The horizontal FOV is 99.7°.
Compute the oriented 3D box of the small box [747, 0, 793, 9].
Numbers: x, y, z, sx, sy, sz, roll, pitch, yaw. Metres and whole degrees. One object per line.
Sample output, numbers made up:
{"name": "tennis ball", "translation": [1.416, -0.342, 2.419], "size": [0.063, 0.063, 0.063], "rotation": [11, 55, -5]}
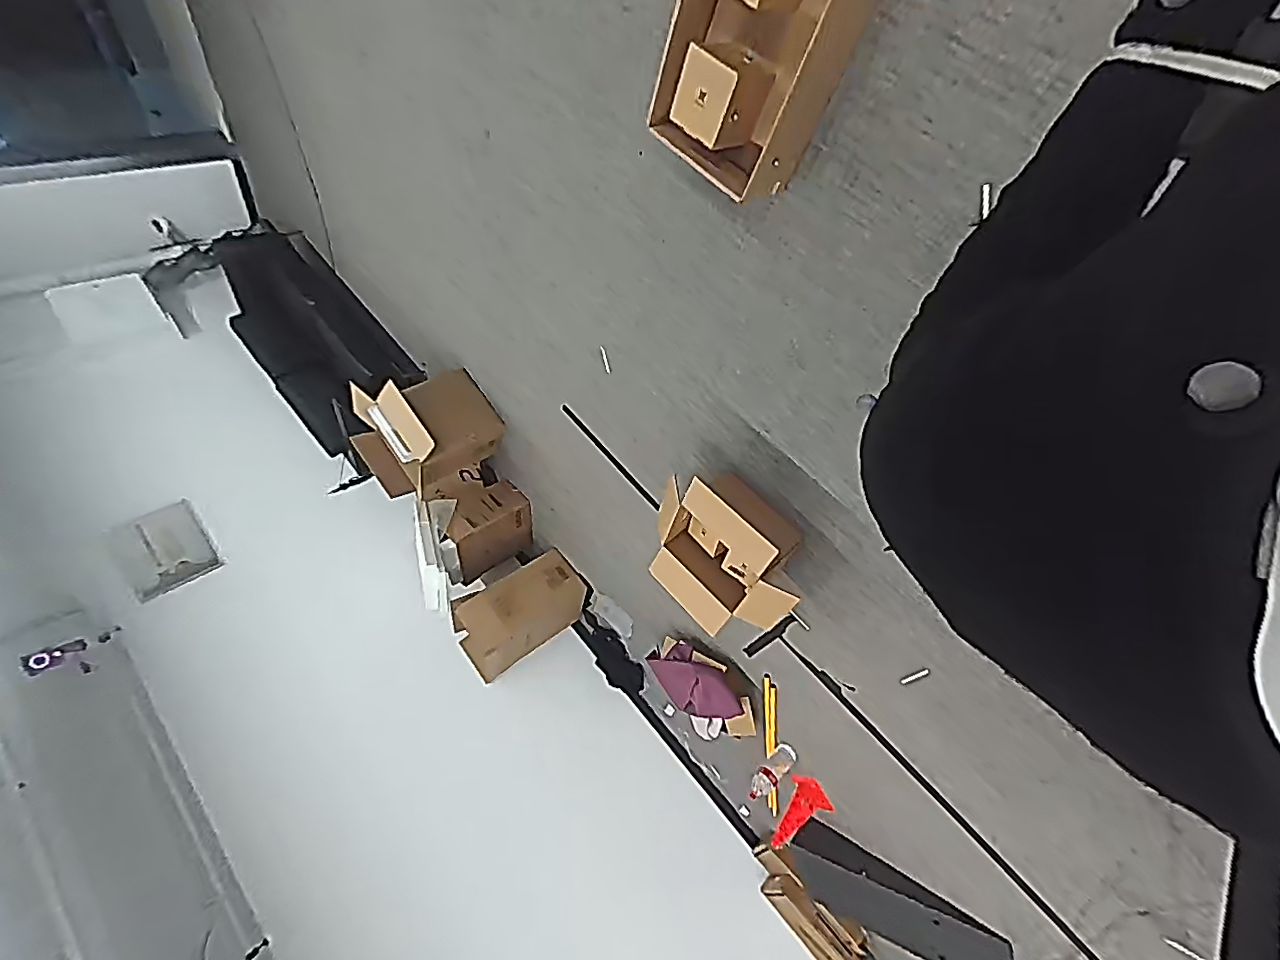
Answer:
{"name": "small box", "translation": [0.281, -1.173, 1.177], "size": [0.179, 0.176, 0.168], "rotation": [47, 147, 13]}

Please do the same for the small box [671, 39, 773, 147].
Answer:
{"name": "small box", "translation": [0.215, -1.005, 1.404], "size": [0.168, 0.176, 0.179], "rotation": [45, 144, 15]}
